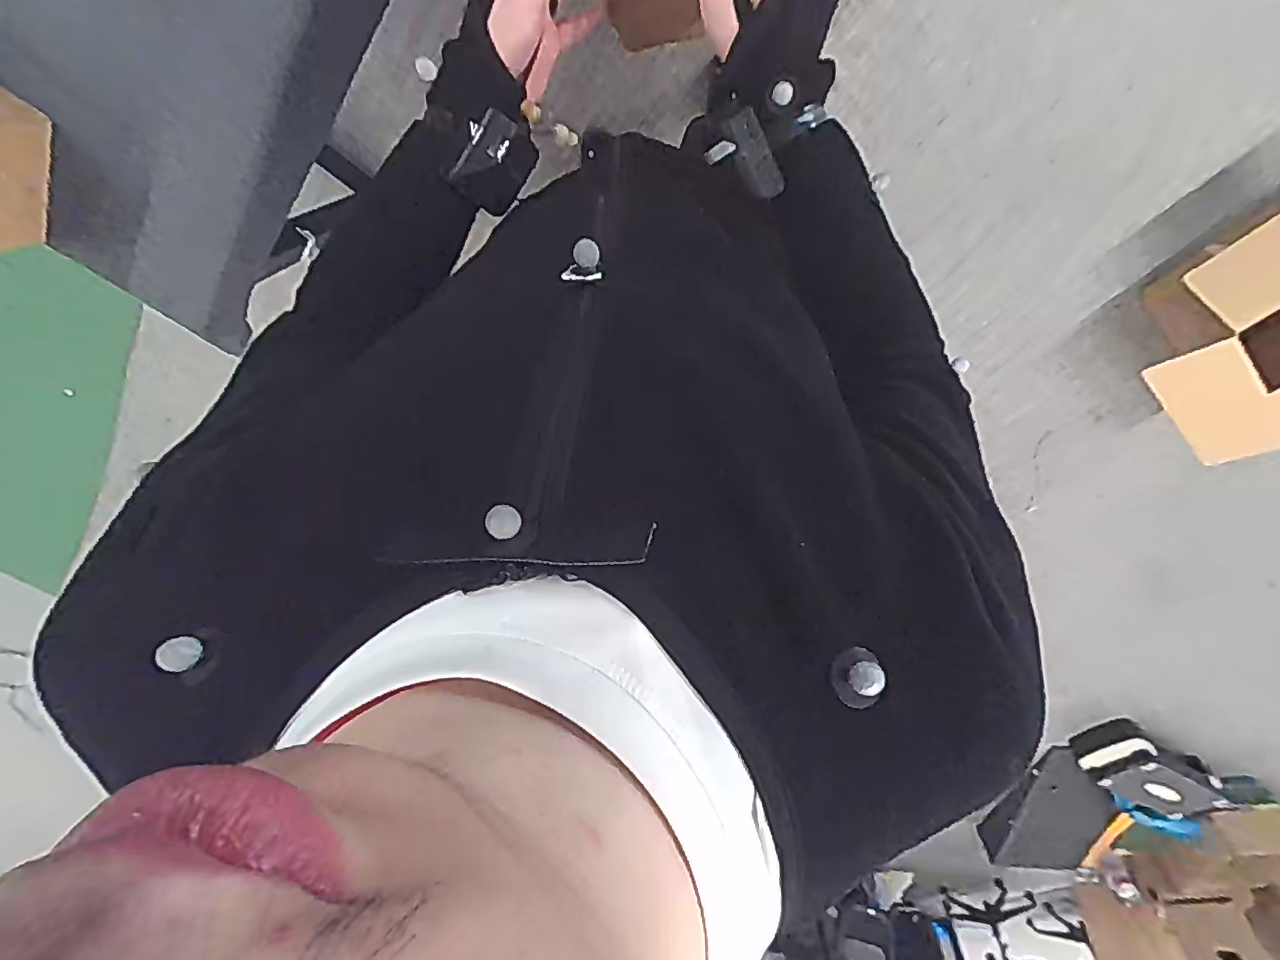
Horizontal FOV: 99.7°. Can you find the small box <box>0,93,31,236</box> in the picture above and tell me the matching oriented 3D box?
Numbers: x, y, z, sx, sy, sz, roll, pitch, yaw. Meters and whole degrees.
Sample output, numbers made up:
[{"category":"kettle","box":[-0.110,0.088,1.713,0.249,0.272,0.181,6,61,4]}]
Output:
[{"category":"small box","box":[-0.816,-0.371,0.573,0.168,0.176,0.179,32,123,-18]}]
